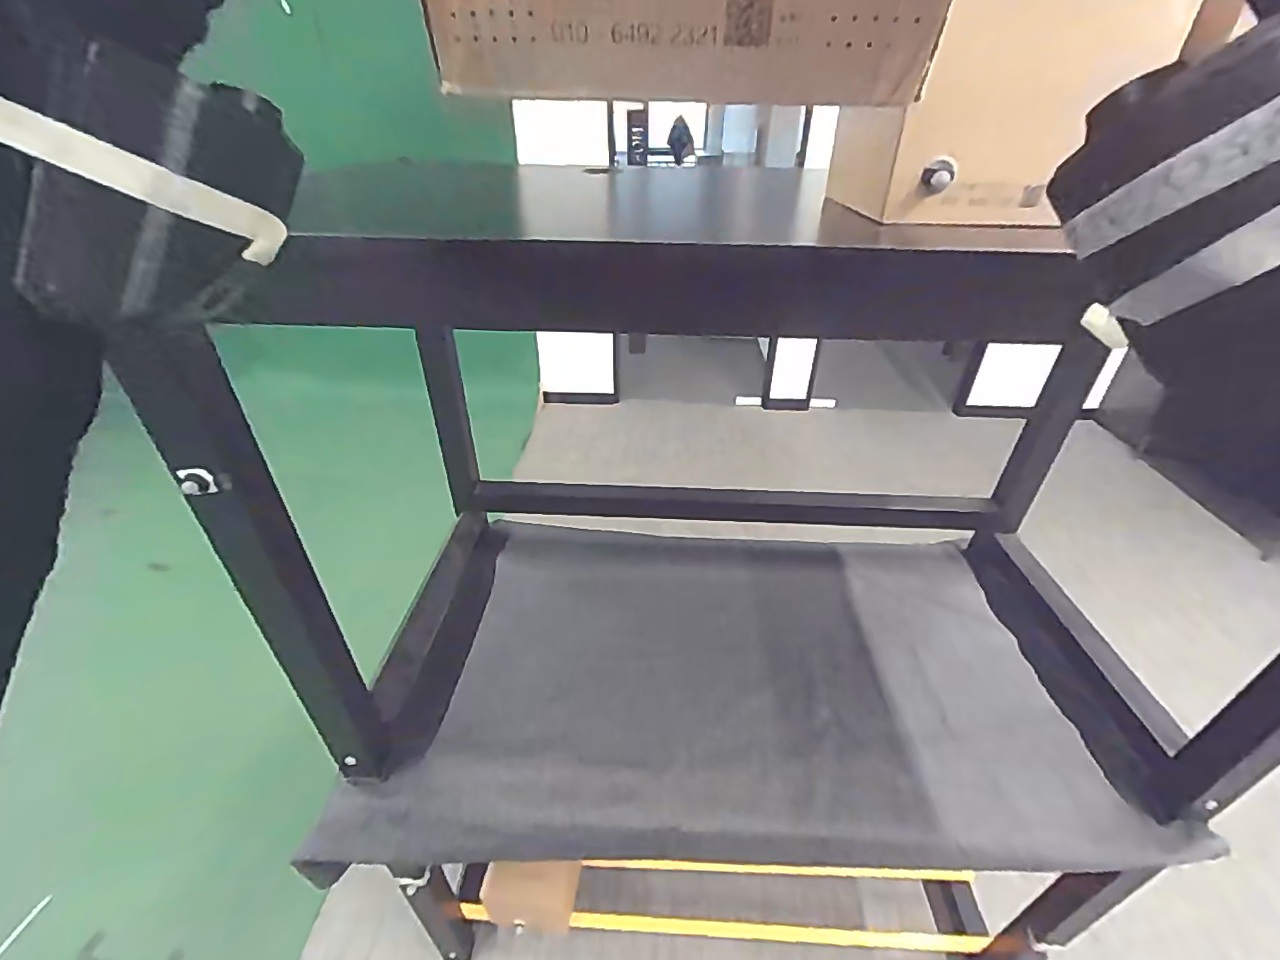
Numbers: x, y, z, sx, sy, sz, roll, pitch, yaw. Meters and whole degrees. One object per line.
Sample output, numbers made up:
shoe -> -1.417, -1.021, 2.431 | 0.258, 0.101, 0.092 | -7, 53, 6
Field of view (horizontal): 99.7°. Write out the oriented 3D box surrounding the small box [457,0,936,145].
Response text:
small box -> 0.019, -0.246, 0.195 | 0.168, 0.176, 0.179 | 2, 50, 2
